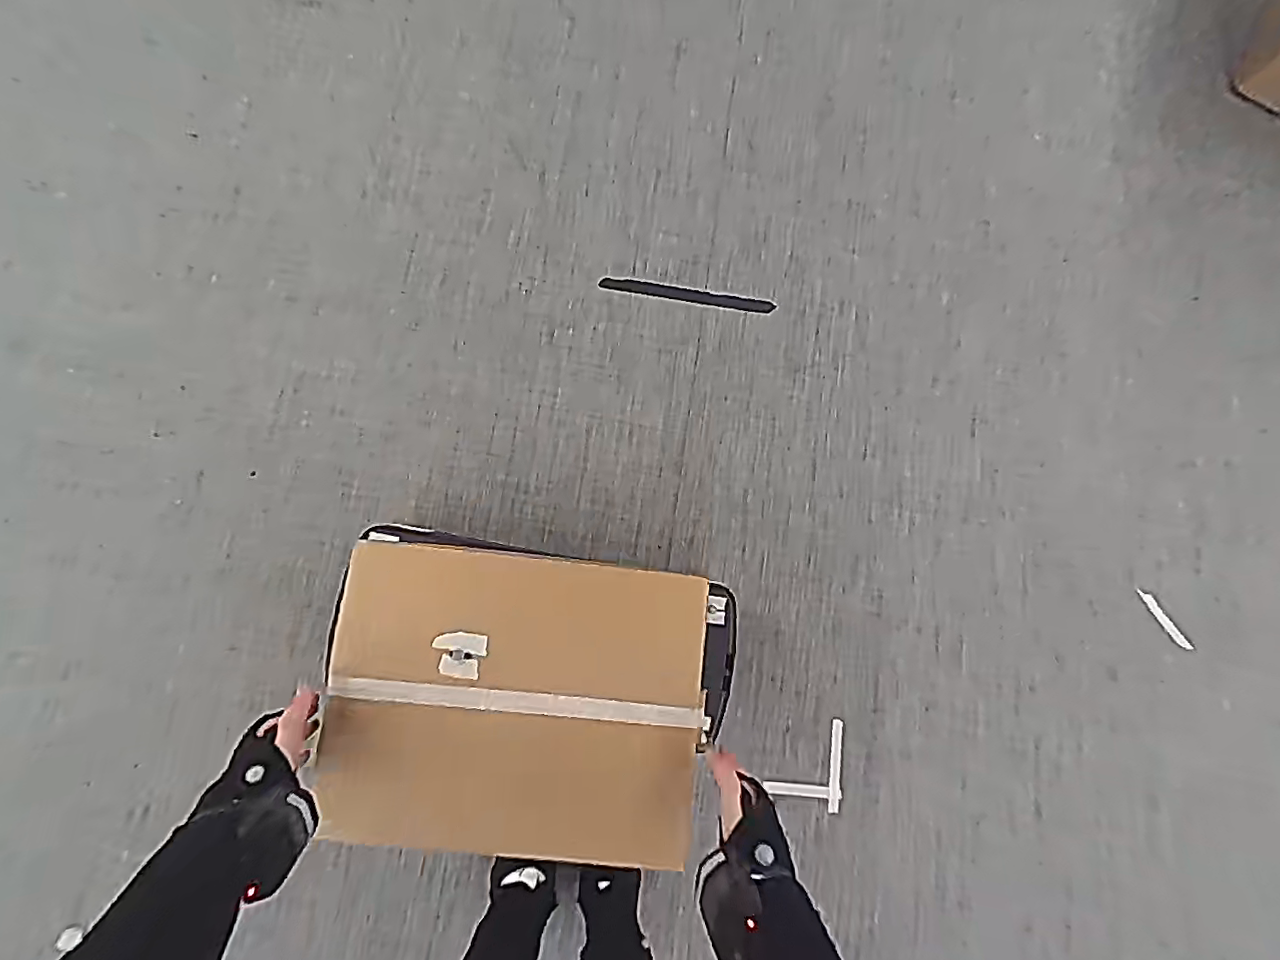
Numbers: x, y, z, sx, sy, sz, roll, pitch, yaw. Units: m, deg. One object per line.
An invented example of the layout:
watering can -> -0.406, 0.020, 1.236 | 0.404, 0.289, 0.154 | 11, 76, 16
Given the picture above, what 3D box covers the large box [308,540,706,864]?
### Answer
large box -> -0.140, 0.258, 0.735 | 0.408, 0.320, 0.320 | 7, 81, -2
